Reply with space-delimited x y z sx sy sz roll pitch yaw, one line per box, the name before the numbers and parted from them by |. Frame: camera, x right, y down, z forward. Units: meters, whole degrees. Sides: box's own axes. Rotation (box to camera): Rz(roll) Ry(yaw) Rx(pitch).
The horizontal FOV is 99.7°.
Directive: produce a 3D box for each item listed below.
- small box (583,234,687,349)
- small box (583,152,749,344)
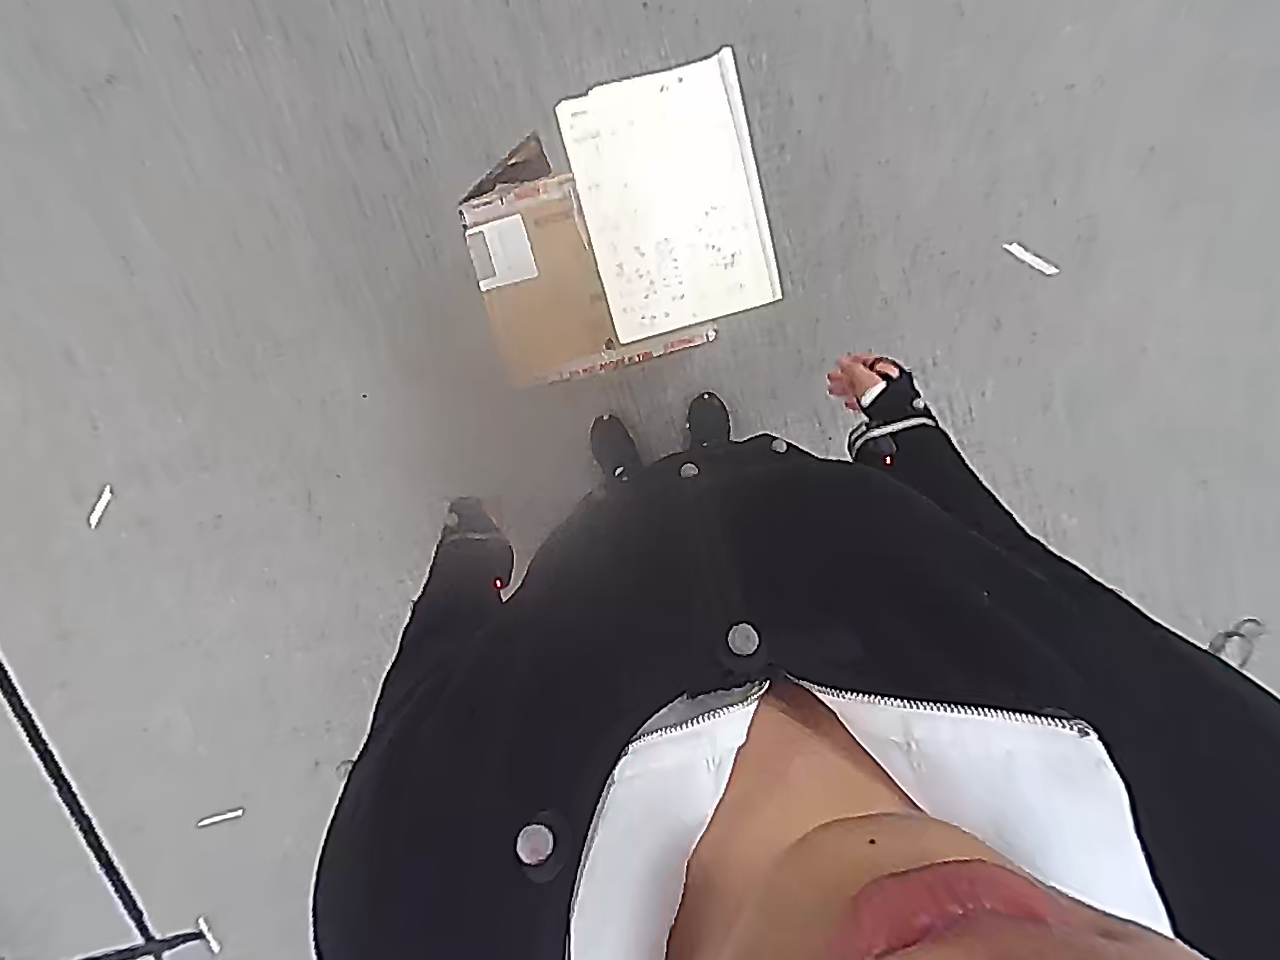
small box | 0.019 -0.318 0.873 0.179 0.176 0.168 -19 101 2
small box | 0.028 -0.288 0.711 0.168 0.176 0.179 -15 102 0
